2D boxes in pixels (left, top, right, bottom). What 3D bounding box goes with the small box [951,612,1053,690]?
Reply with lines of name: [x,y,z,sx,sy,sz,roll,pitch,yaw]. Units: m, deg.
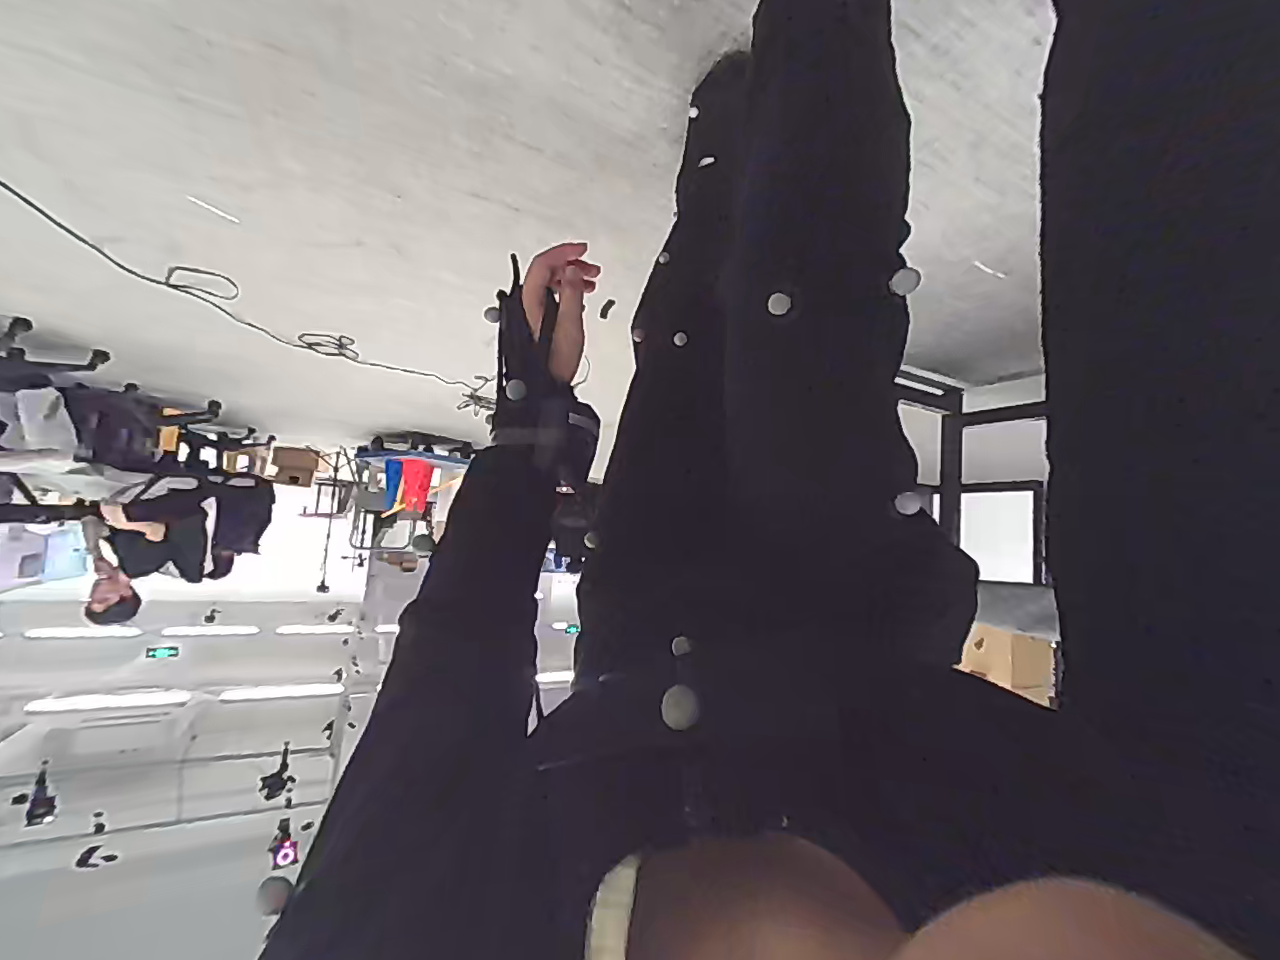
small box: [0.947,0.441,1.420,0.179,0.176,0.168,7,174,-25]

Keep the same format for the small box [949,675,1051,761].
small box: [0.934,0.603,1.408,0.179,0.176,0.168,6,175,-28]
